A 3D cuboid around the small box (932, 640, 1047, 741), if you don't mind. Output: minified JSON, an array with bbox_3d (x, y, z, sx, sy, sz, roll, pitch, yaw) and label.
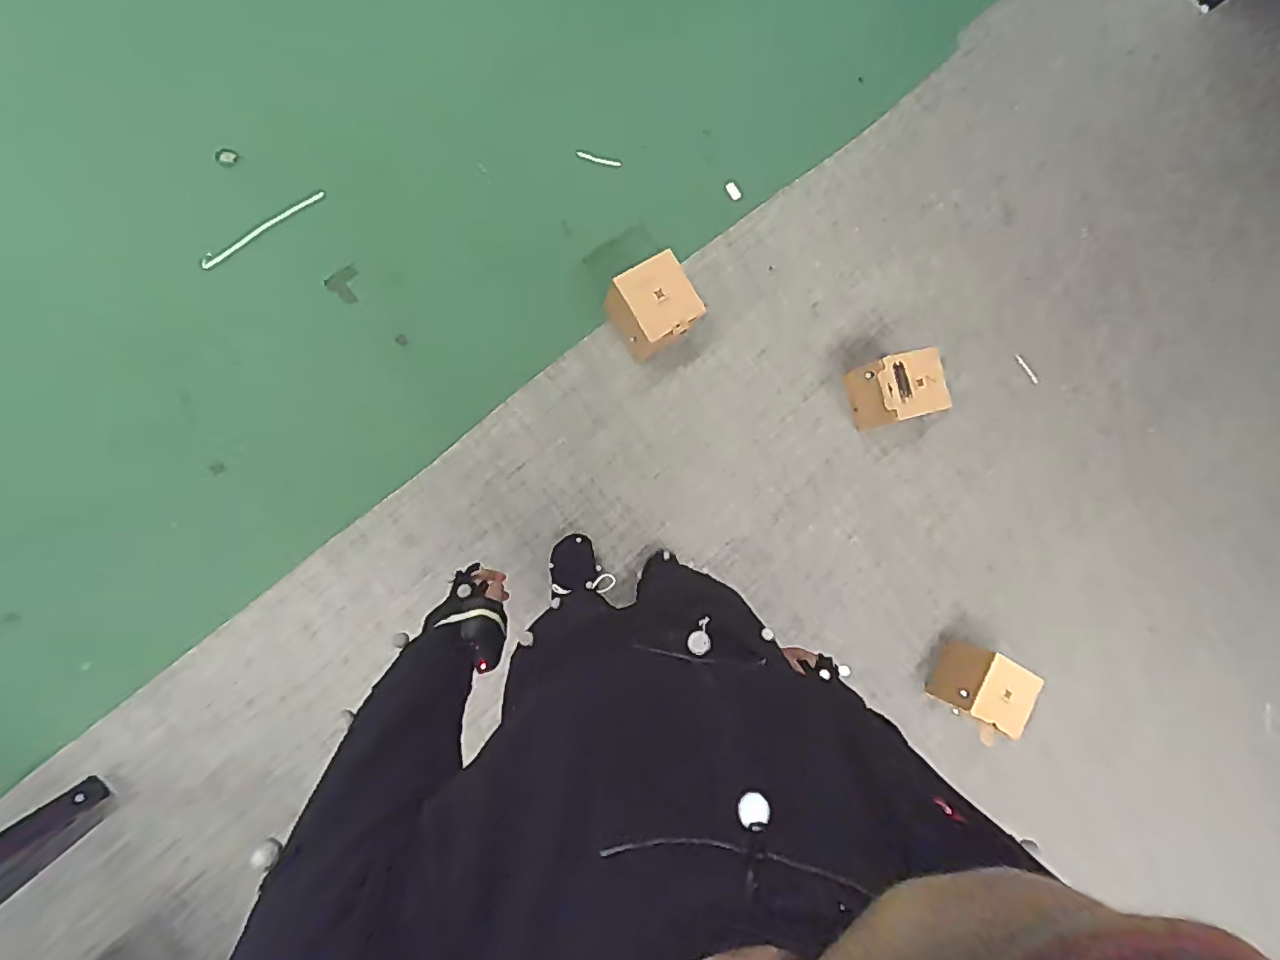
[{"bbox_3d":[0.936,0.559,1.464,0.168,0.176,0.179,30,83,-8],"label":"small box"}]

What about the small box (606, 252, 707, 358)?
[{"bbox_3d":[0.035,-0.422,1.342,0.168,0.176,0.179,-33,93,-12],"label":"small box"}]
